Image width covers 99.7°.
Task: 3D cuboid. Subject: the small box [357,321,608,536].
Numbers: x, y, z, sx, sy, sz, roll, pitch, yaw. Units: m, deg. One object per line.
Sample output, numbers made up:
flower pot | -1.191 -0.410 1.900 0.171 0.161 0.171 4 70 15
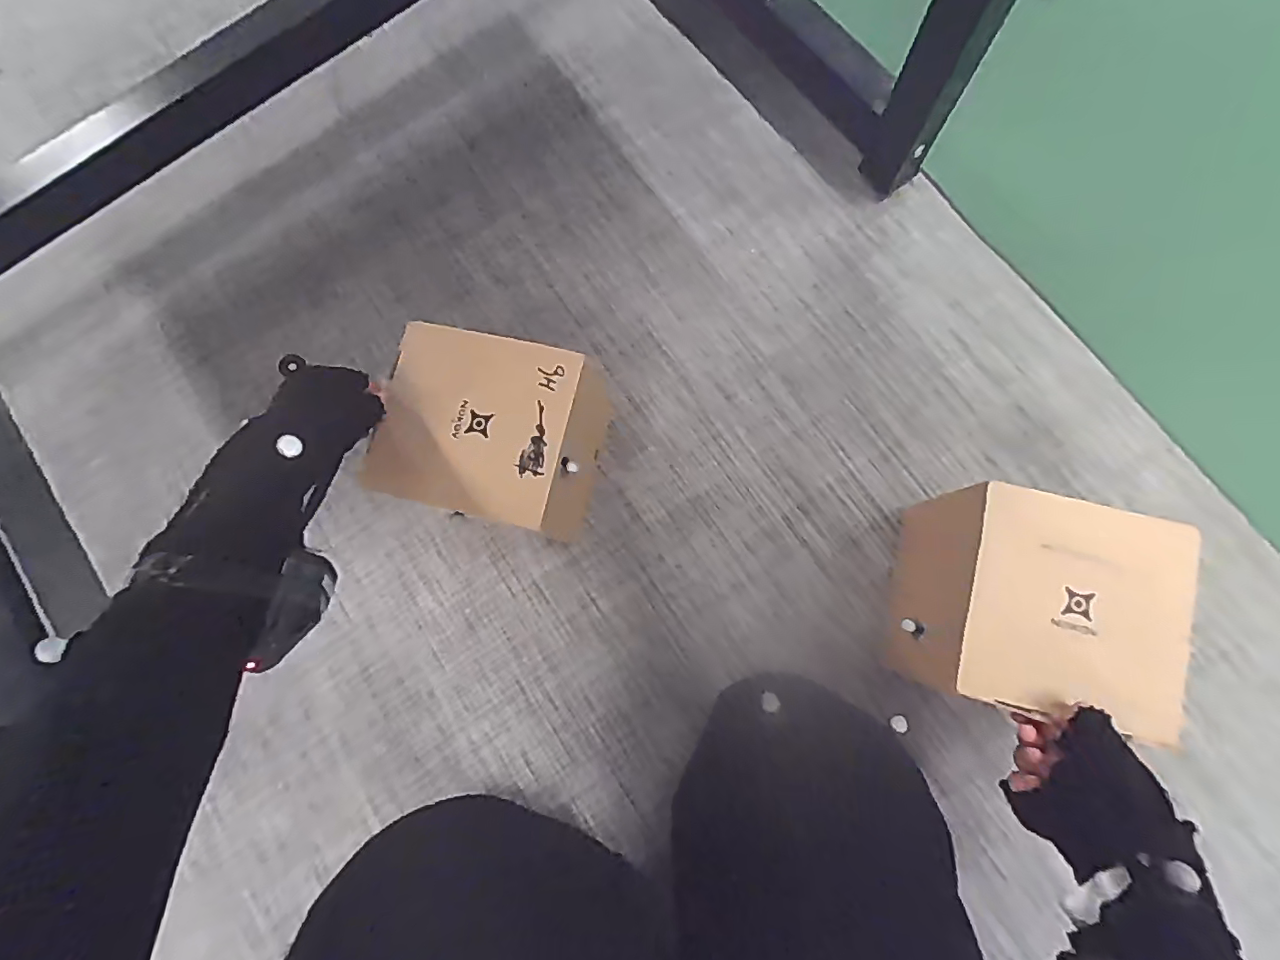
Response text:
small box | -0.146 -0.041 0.565 0.179 0.176 0.168 13 82 8
